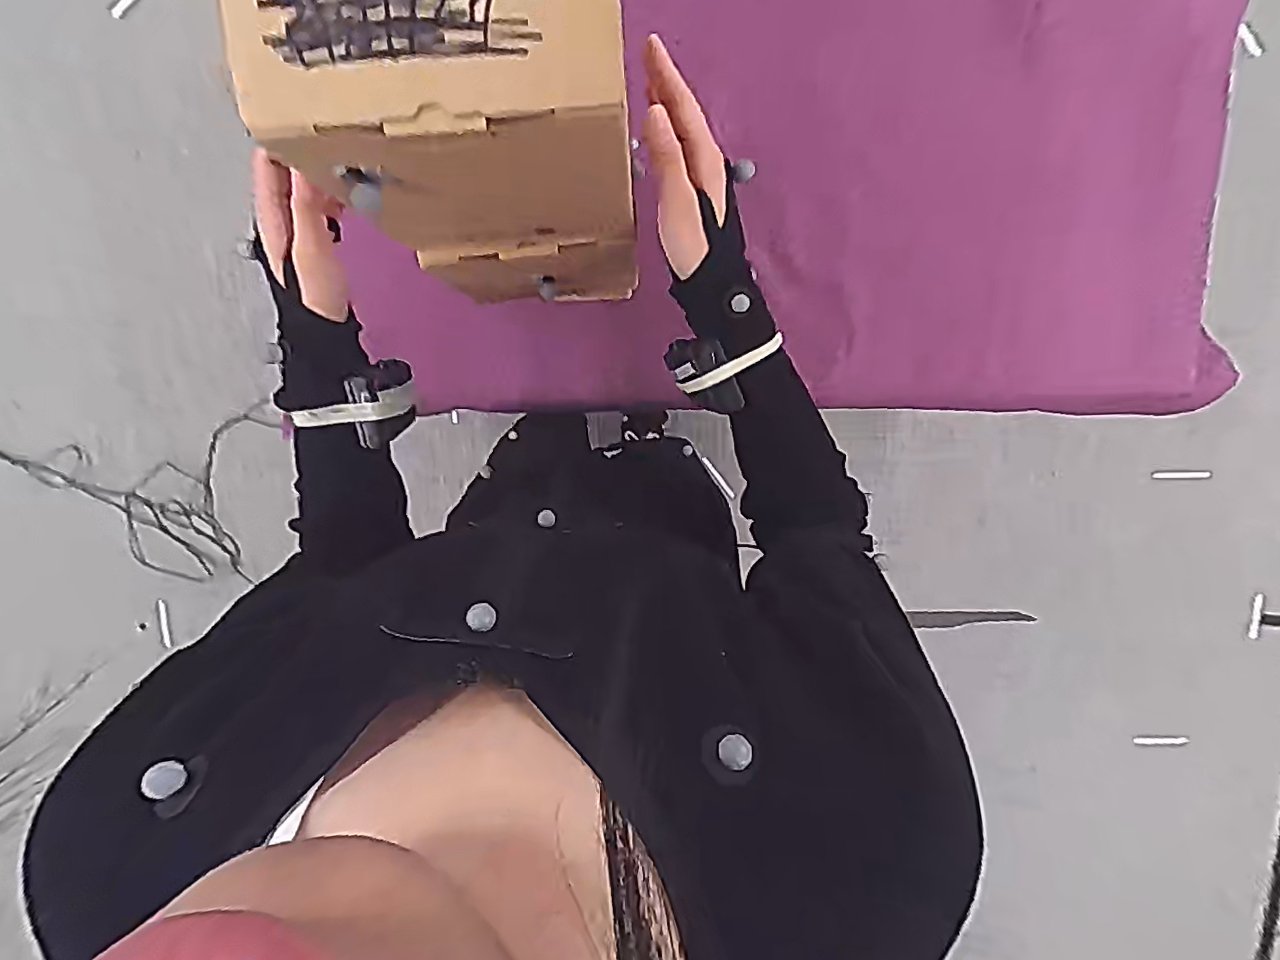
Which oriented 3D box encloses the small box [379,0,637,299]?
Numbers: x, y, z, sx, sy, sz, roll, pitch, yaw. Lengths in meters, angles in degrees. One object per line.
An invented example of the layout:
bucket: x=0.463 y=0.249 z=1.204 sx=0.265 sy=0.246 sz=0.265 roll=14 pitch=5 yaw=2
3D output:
small box: x=-0.093 y=-0.261 z=0.469 sx=0.168 sy=0.176 sz=0.179 roll=-7 pitch=99 yaw=1
